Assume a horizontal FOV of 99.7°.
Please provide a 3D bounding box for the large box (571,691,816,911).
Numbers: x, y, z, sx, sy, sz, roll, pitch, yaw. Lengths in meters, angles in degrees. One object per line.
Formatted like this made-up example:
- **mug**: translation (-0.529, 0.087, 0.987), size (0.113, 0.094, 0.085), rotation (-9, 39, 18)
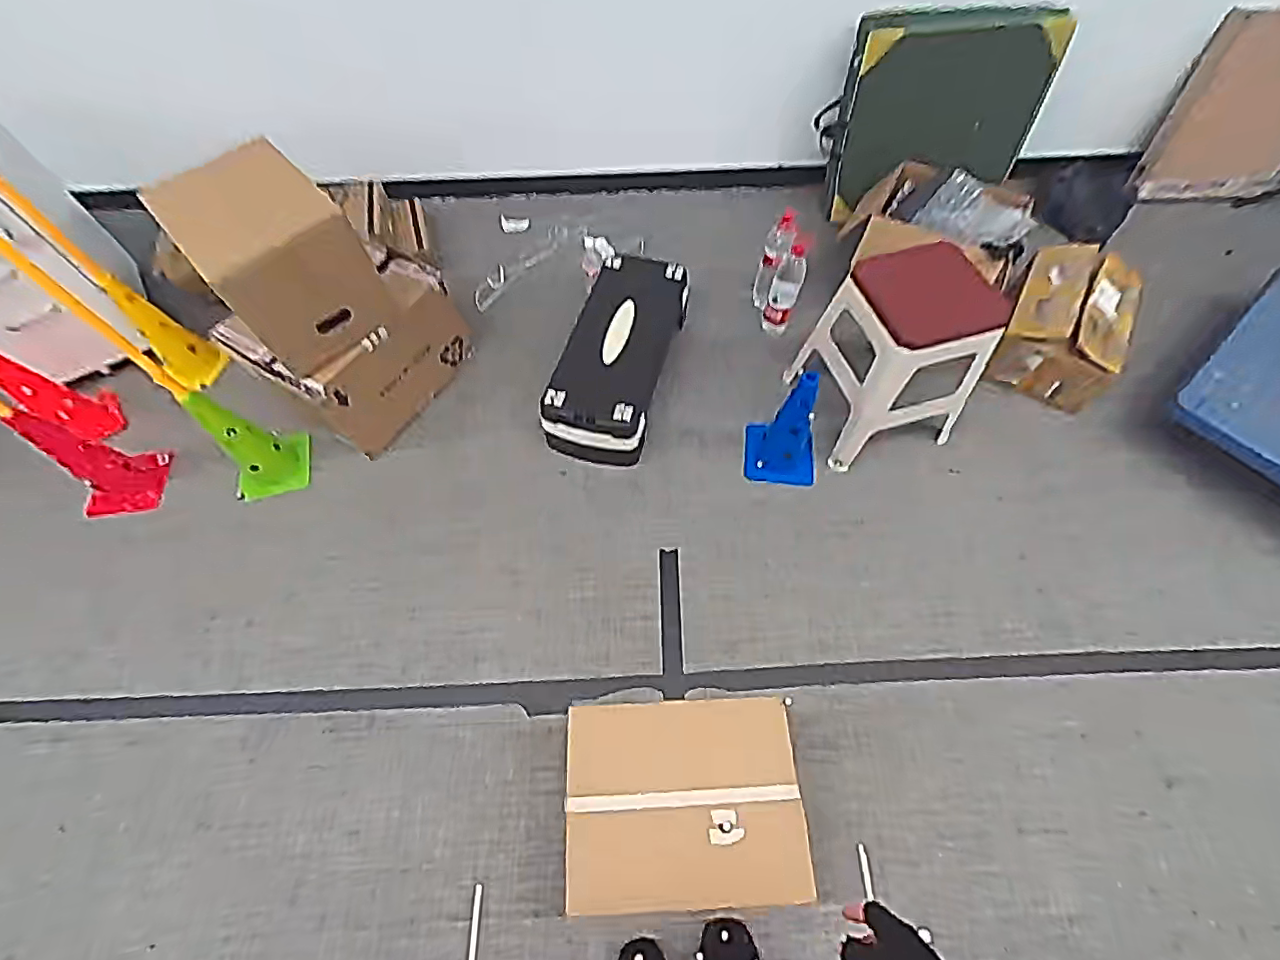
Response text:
- **large box**: translation (0.078, 0.615, 1.069), size (0.408, 0.320, 0.320), rotation (-2, 62, -2)
